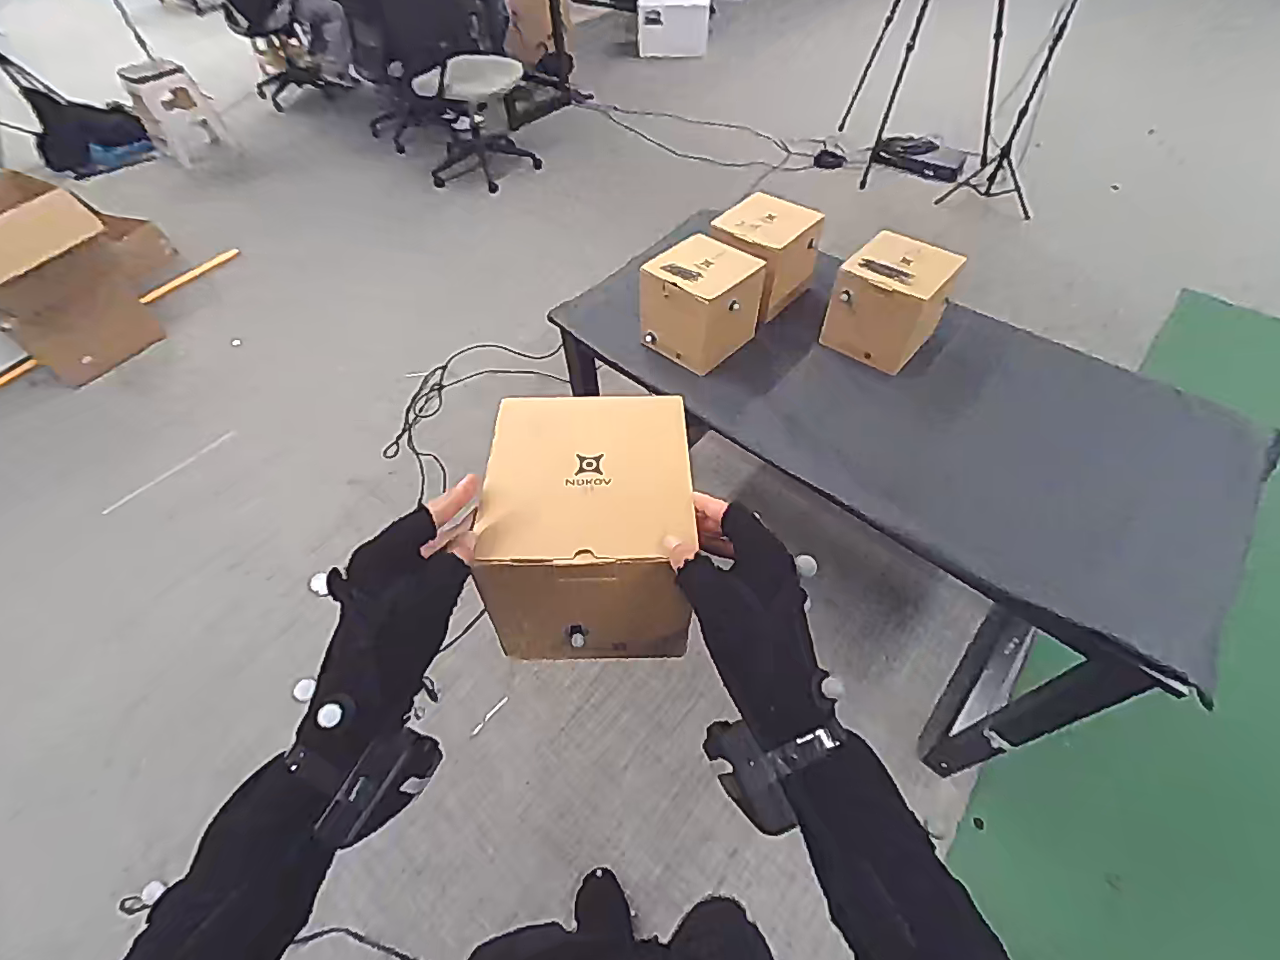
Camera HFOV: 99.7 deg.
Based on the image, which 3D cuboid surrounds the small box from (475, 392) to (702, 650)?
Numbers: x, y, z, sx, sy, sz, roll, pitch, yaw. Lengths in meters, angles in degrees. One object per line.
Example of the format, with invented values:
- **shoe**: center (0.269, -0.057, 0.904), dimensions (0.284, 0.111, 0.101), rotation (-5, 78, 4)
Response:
- **small box**: center (-0.040, 0.039, 0.498), dimensions (0.168, 0.176, 0.179), rotation (-1, 51, -1)
